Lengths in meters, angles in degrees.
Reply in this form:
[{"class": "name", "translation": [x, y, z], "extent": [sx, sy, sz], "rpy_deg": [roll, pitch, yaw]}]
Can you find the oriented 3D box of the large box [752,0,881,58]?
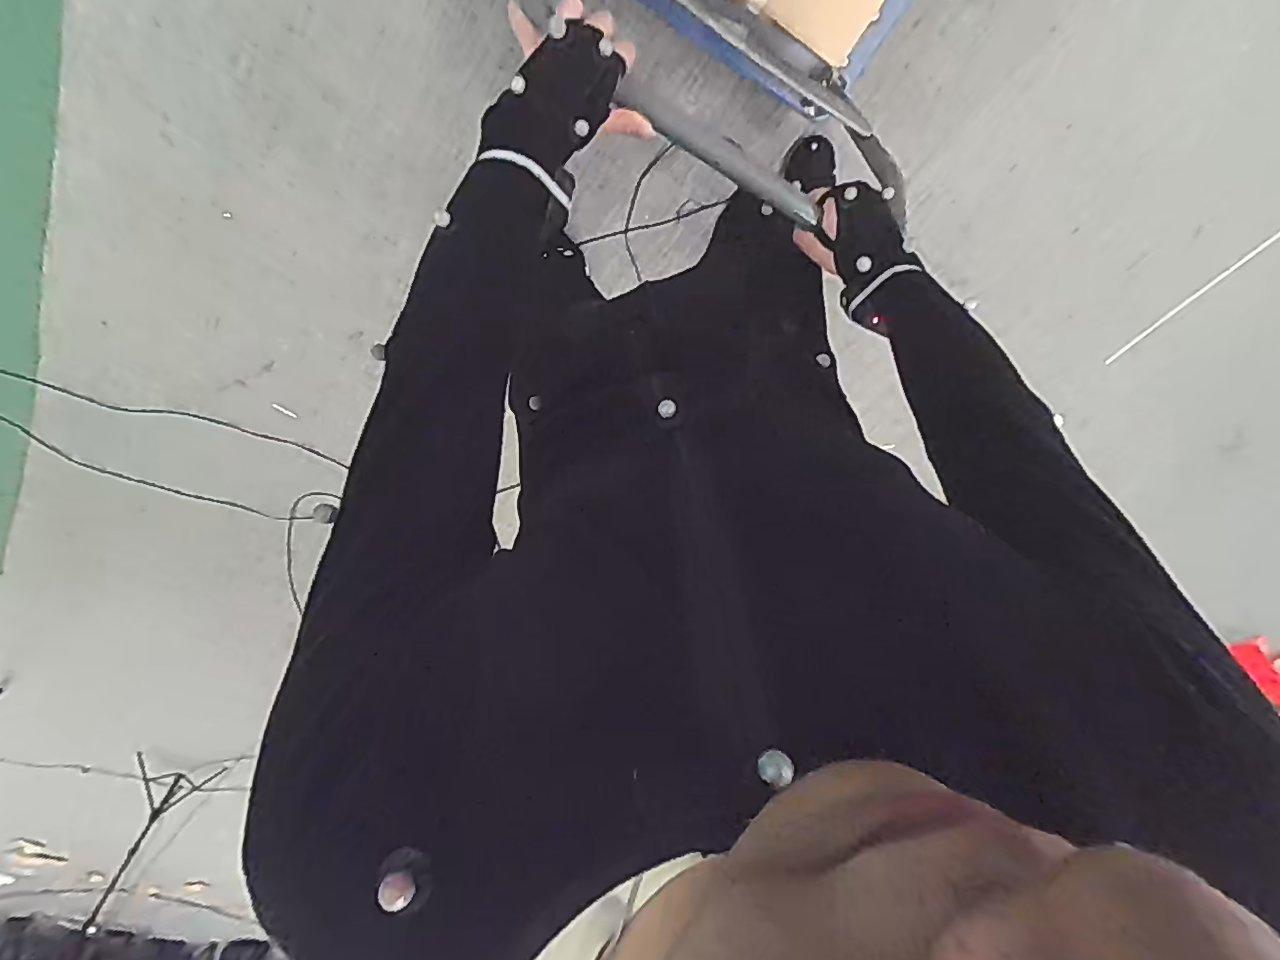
[{"class": "large box", "translation": [0.262, -0.898, 0.734], "extent": [0.320, 0.320, 0.408], "rpy_deg": [23, 131, -19]}]
